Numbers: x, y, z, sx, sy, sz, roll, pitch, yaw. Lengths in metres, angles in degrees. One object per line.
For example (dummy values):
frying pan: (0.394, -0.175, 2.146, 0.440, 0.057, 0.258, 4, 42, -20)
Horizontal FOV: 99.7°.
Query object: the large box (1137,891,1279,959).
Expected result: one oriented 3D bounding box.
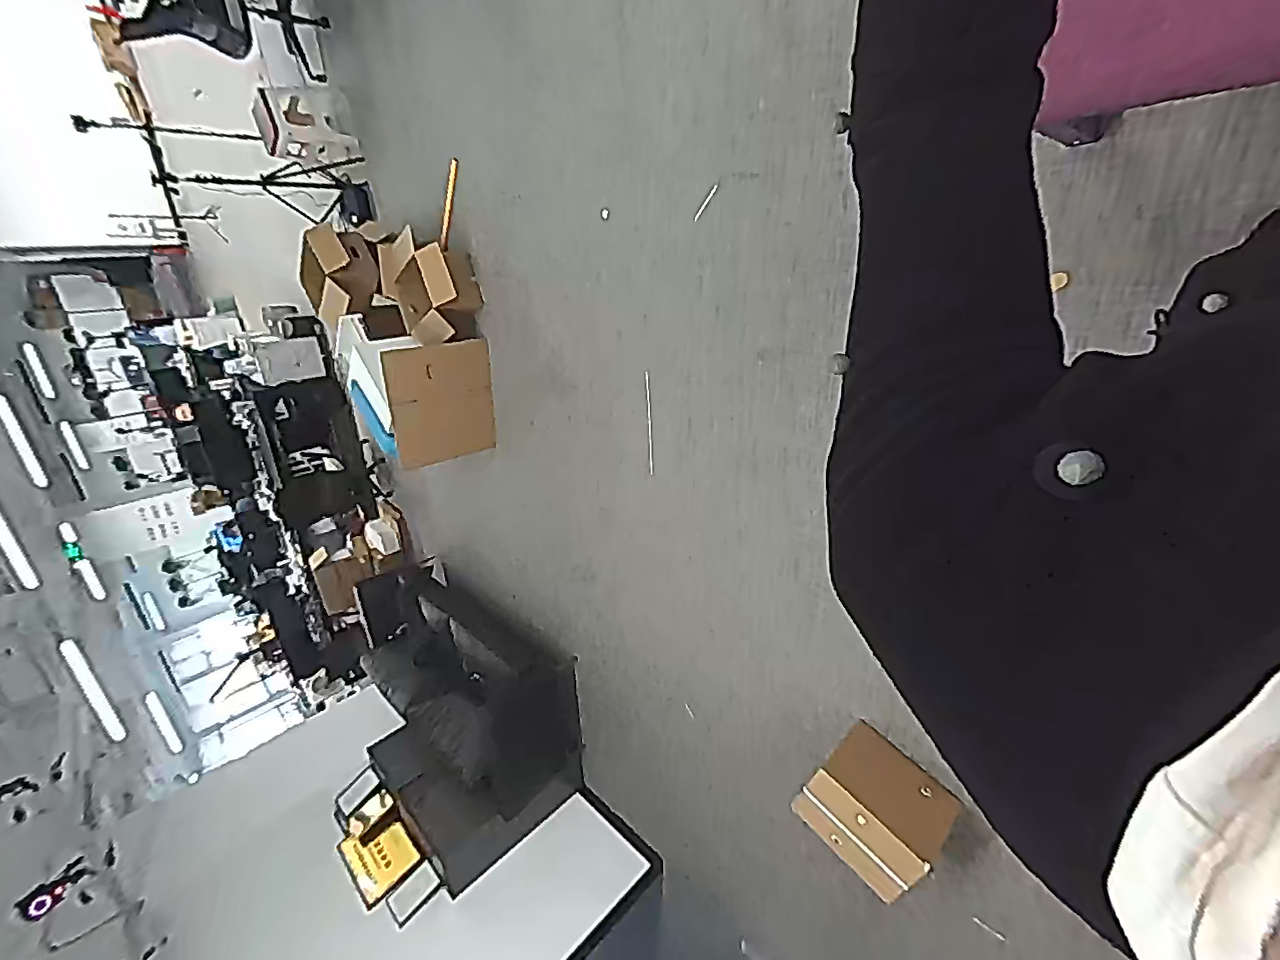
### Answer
large box: (1.498, 1.269, 1.271, 0.408, 0.320, 0.320, -27, 87, 49)
